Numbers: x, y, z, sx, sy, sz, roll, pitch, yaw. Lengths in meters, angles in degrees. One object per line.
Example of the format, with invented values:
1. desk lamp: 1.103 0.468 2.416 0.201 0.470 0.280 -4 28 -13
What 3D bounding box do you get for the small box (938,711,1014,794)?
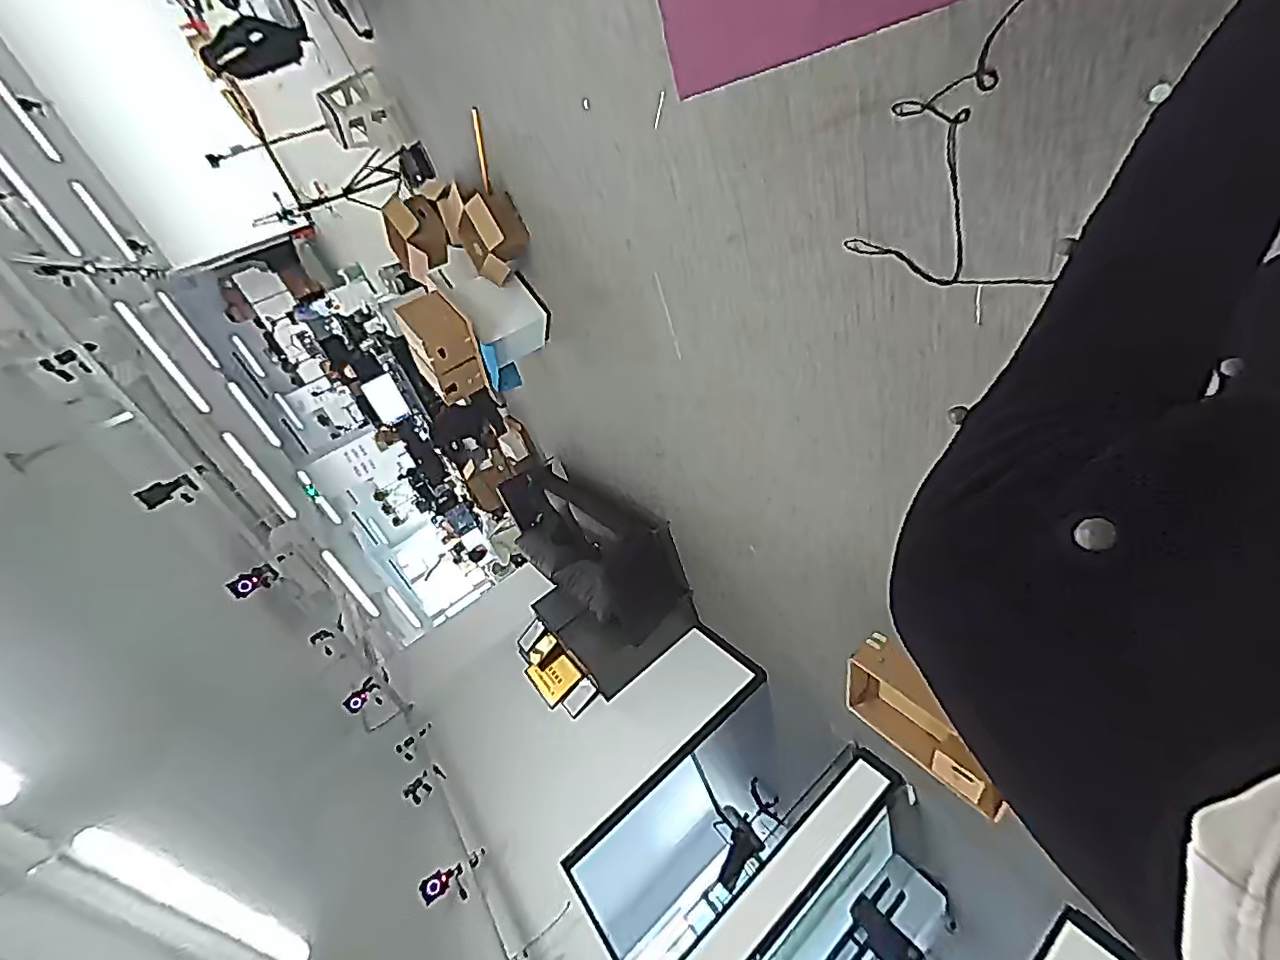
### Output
1. small box: 1.201 0.969 1.934 0.168 0.176 0.179 34 151 45
